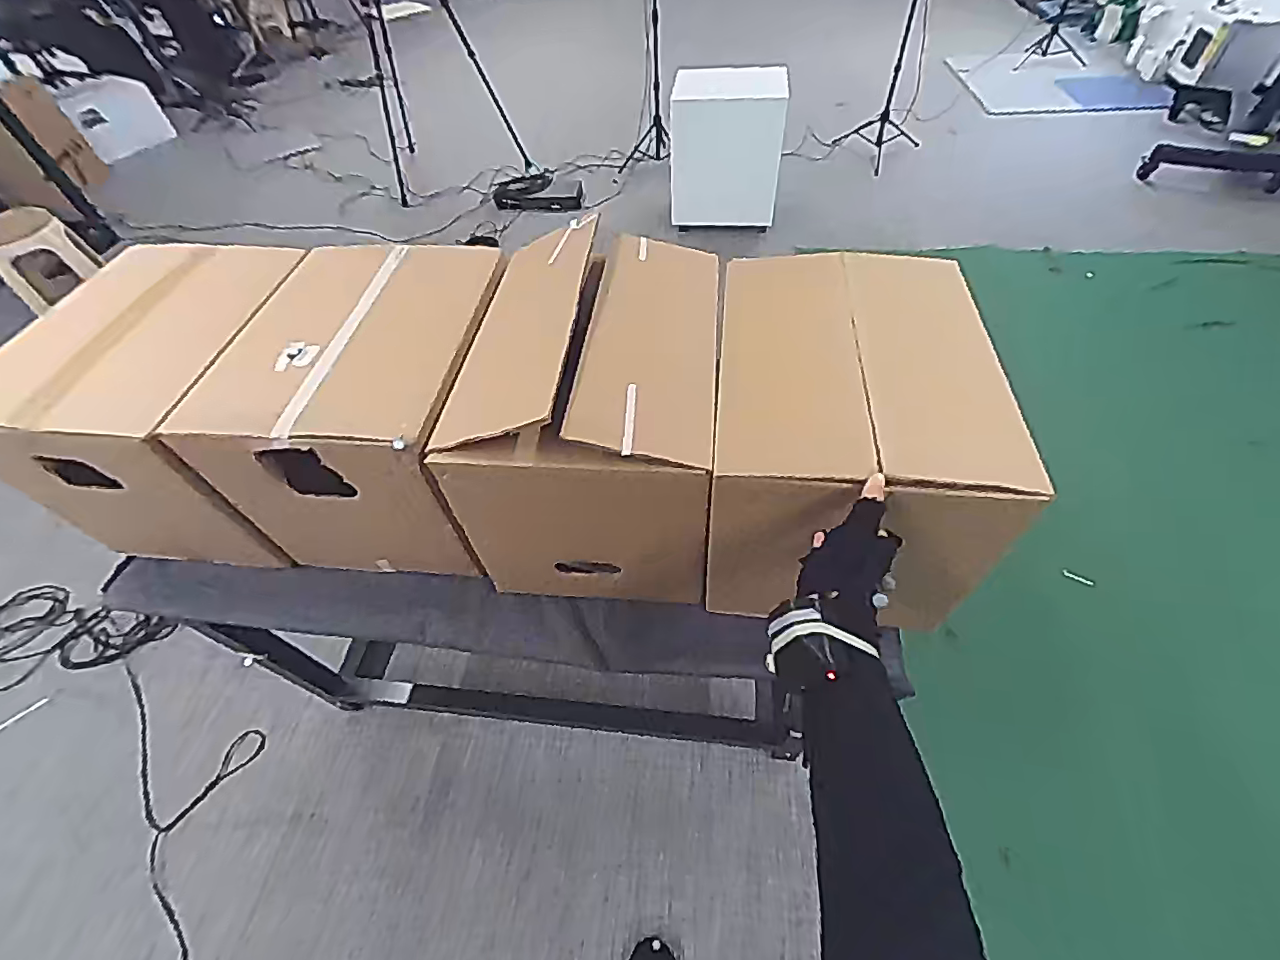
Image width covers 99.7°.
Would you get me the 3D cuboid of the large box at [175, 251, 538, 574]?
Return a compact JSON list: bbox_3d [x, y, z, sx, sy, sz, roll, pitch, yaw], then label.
[{"bbox_3d":[-0.368,-0.108,0.848,0.320,0.320,0.408,2,53,6],"label":"large box"}]
